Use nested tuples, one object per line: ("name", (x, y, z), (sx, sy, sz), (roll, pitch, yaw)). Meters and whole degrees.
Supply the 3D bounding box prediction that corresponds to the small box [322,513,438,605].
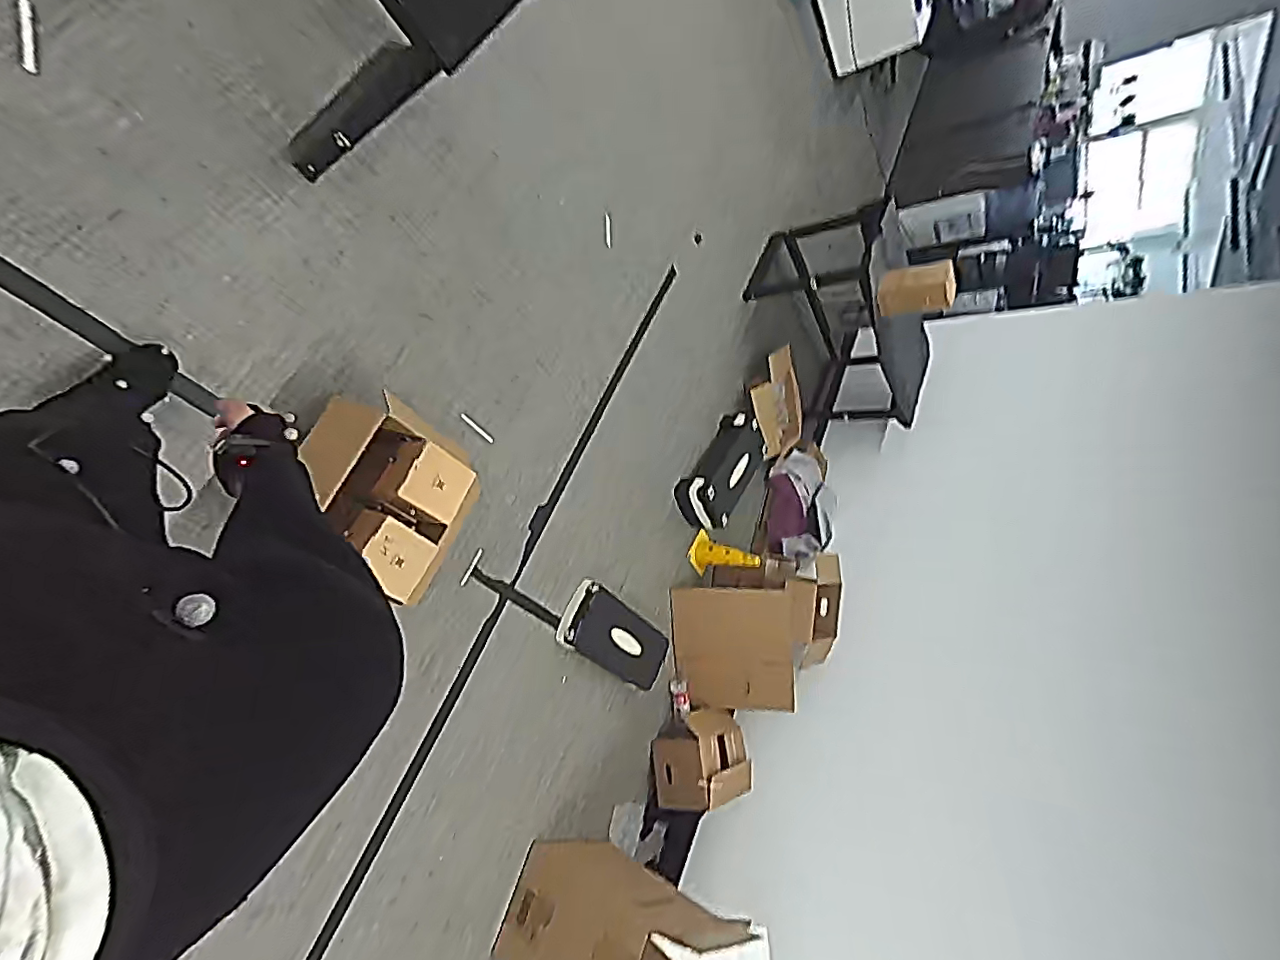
("small box", (-0.671, 0.197, 1.399), (0.179, 0.176, 0.168), (49, 58, -41))
